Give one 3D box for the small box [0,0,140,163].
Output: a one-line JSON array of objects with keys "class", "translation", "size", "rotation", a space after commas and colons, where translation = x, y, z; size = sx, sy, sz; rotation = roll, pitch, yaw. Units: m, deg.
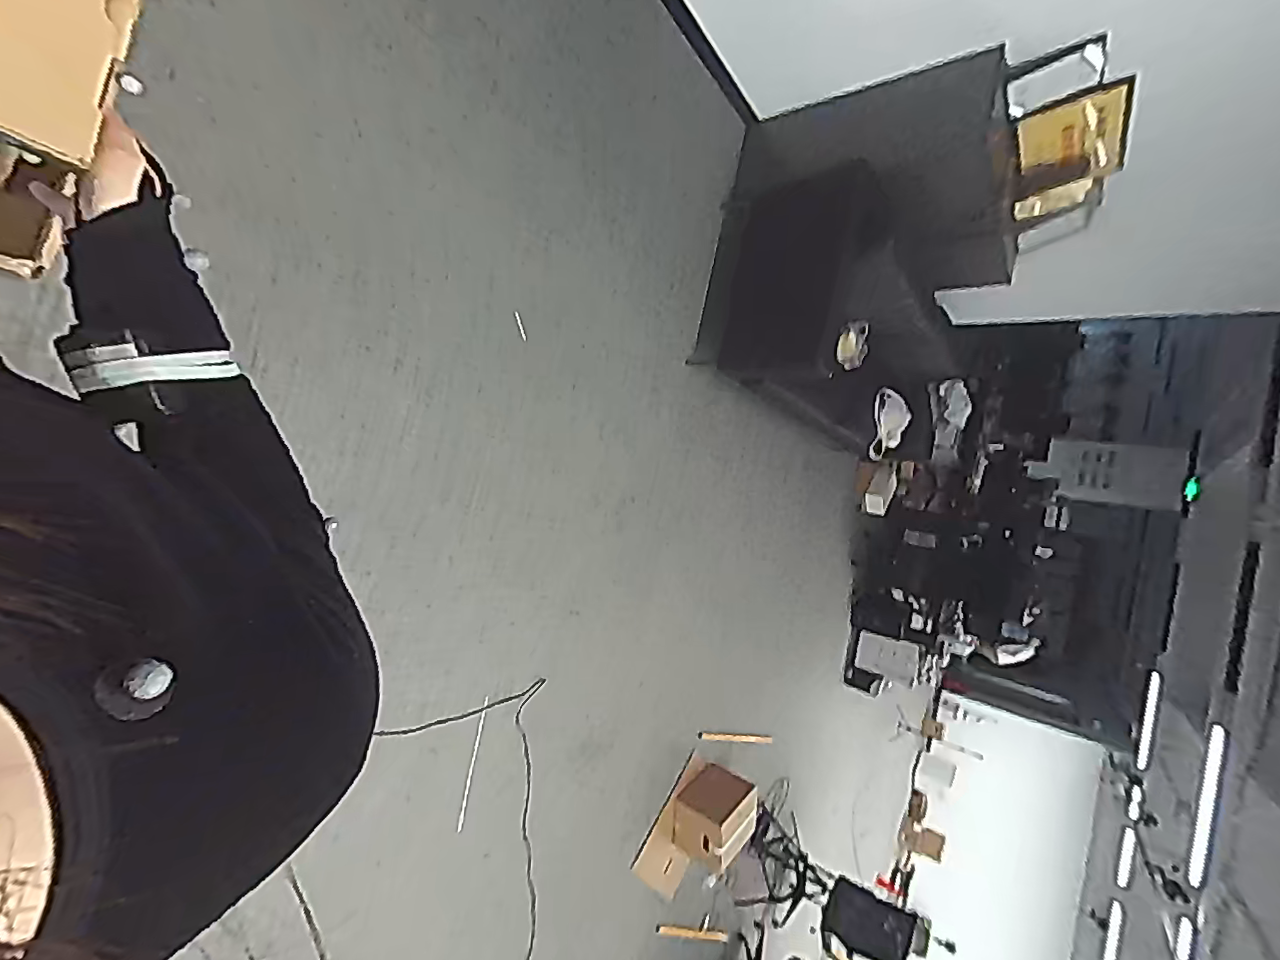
[{"class": "small box", "translation": [-0.385, -0.289, 0.278], "size": [0.179, 0.176, 0.168], "rotation": [15, 98, -48]}]
